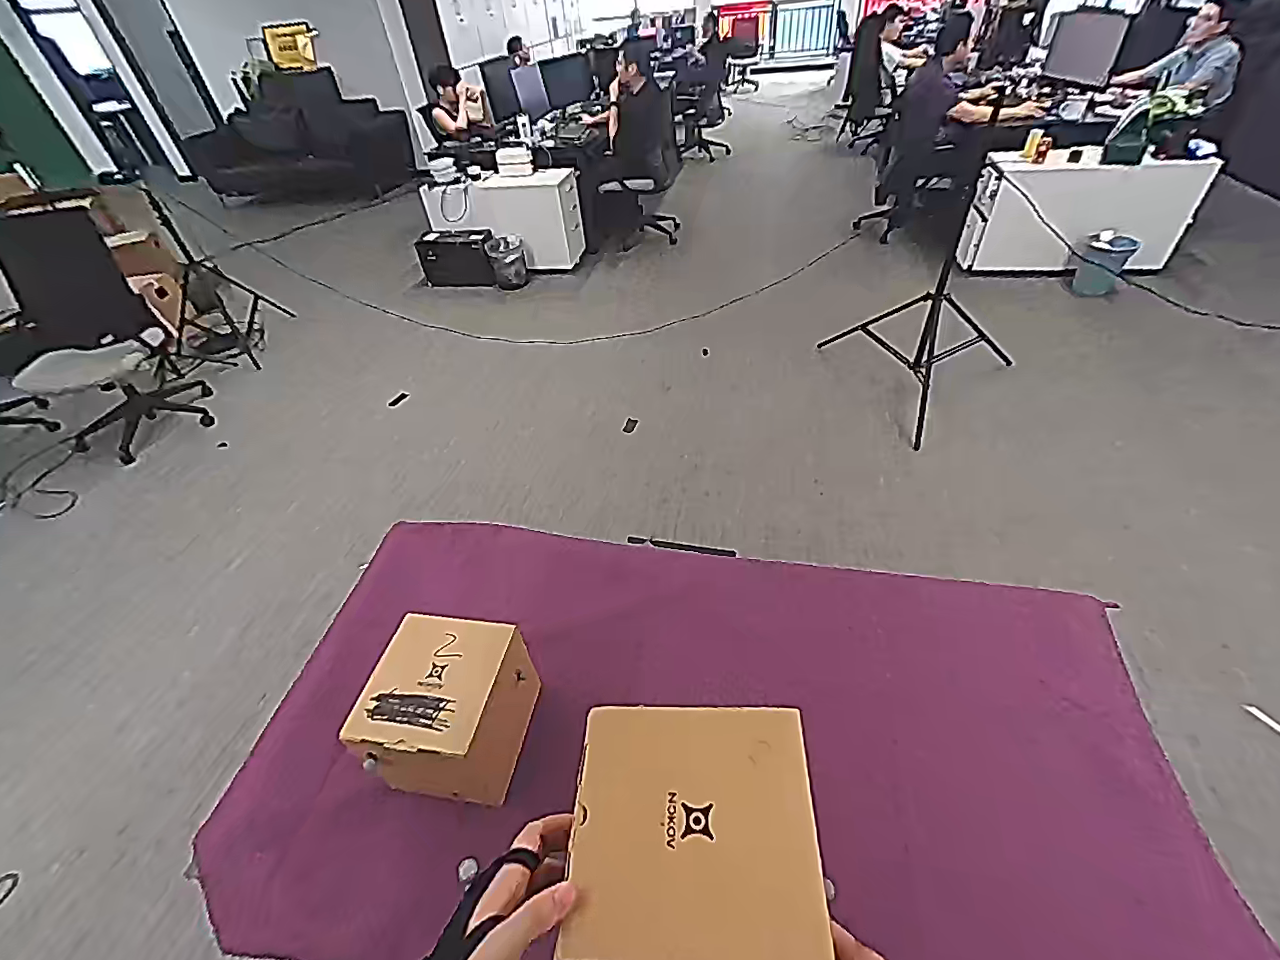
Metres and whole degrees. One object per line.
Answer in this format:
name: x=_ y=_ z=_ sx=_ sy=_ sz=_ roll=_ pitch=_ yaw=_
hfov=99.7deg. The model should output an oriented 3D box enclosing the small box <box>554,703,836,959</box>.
small box: x=0.048 y=0.299 z=0.440 sx=0.179 sy=0.176 sz=0.168 roll=-4 pitch=42 yaw=9
